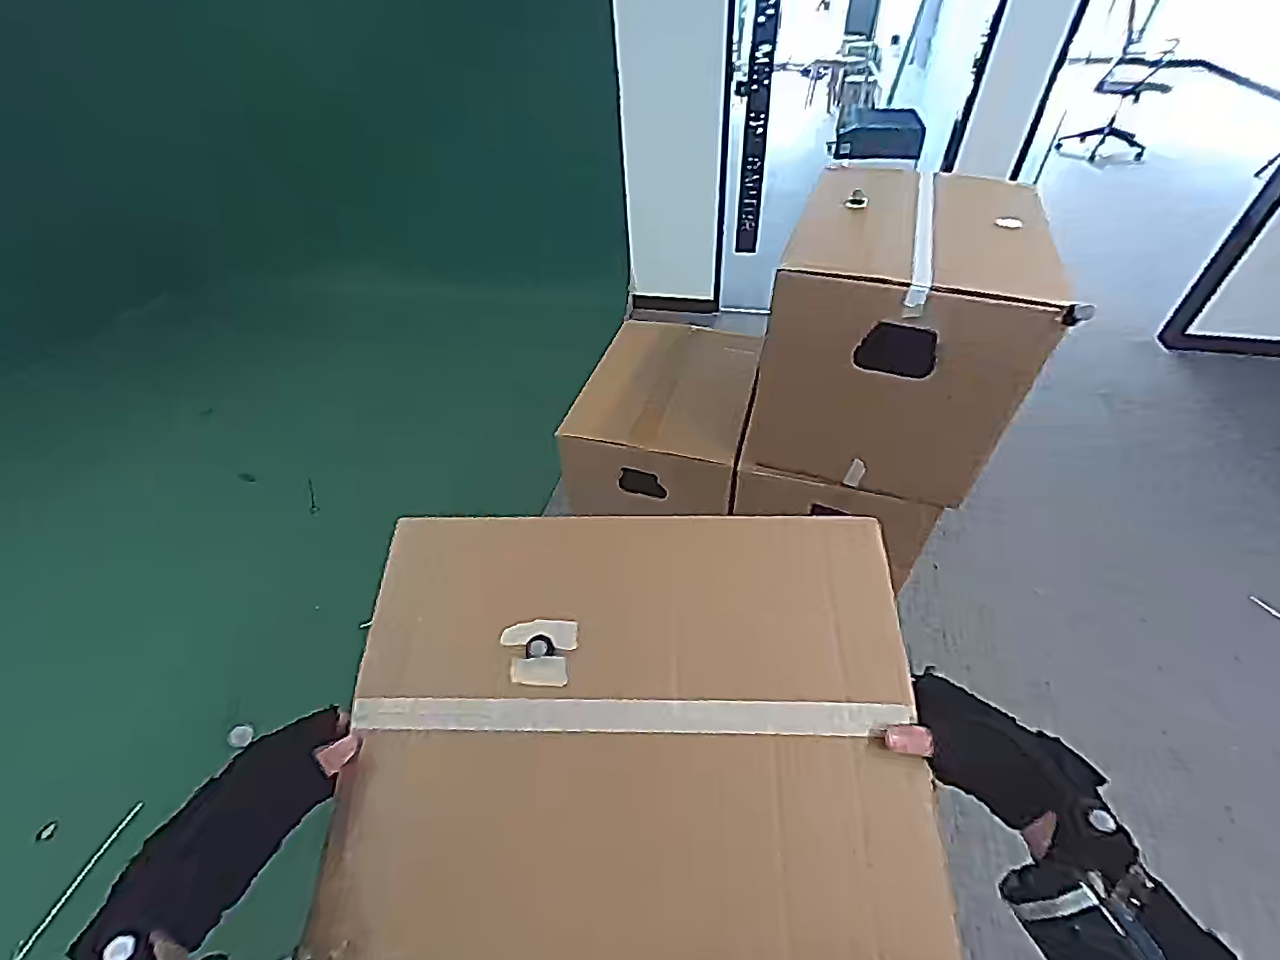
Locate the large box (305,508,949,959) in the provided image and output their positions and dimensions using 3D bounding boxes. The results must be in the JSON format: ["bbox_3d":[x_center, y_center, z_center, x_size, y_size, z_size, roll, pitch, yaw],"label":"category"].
[{"bbox_3d":[-0.002,0.233,0.524,0.408,0.320,0.320,-2,62,4],"label":"large box"}]
